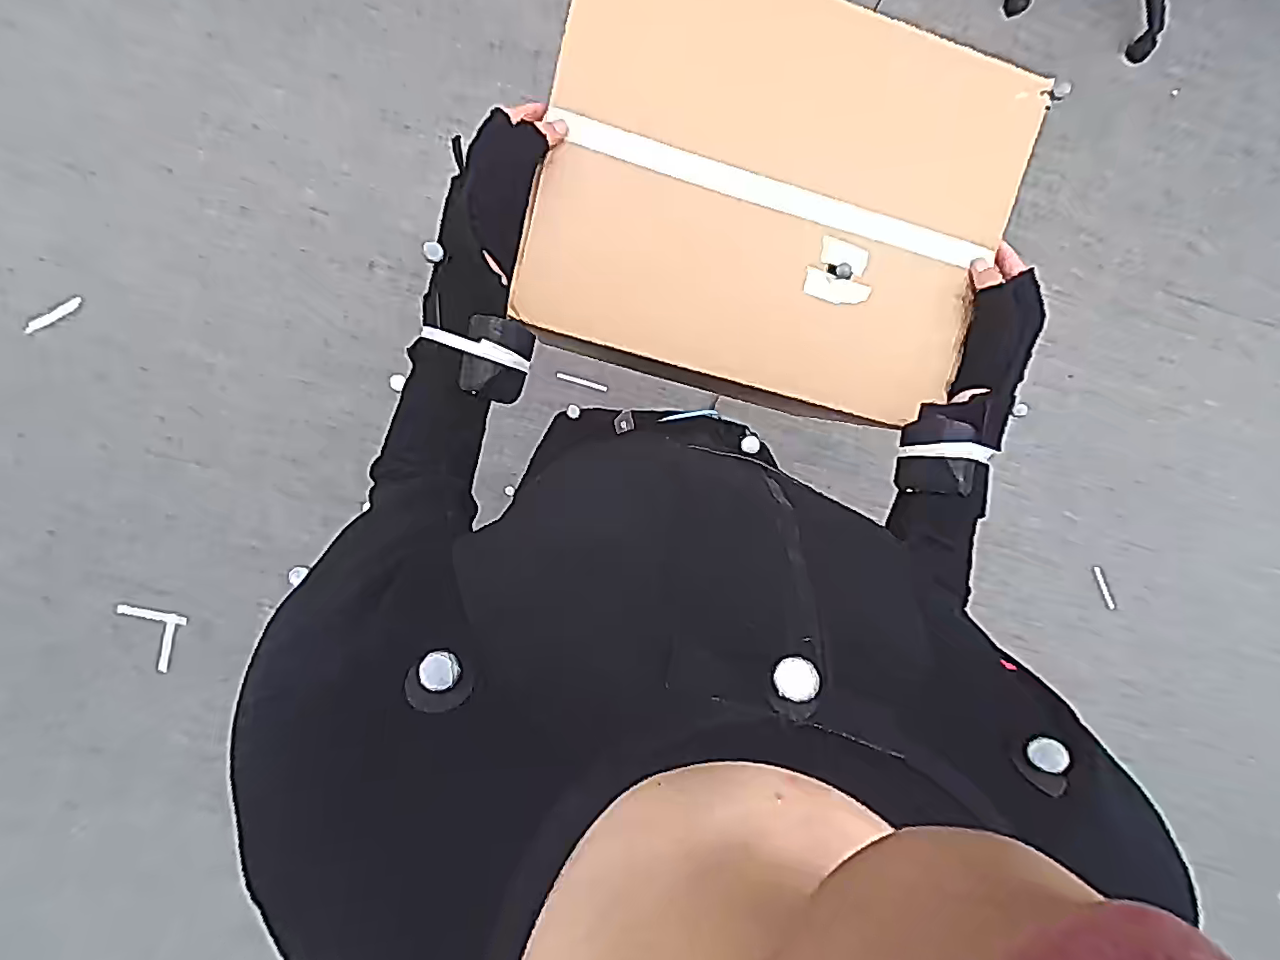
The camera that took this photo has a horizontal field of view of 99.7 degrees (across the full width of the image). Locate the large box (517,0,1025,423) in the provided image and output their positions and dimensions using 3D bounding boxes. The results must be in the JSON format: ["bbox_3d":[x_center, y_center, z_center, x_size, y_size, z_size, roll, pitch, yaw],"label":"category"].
[{"bbox_3d":[0.099,-0.269,0.617,0.408,0.320,0.320,14,99,-9],"label":"large box"}]
